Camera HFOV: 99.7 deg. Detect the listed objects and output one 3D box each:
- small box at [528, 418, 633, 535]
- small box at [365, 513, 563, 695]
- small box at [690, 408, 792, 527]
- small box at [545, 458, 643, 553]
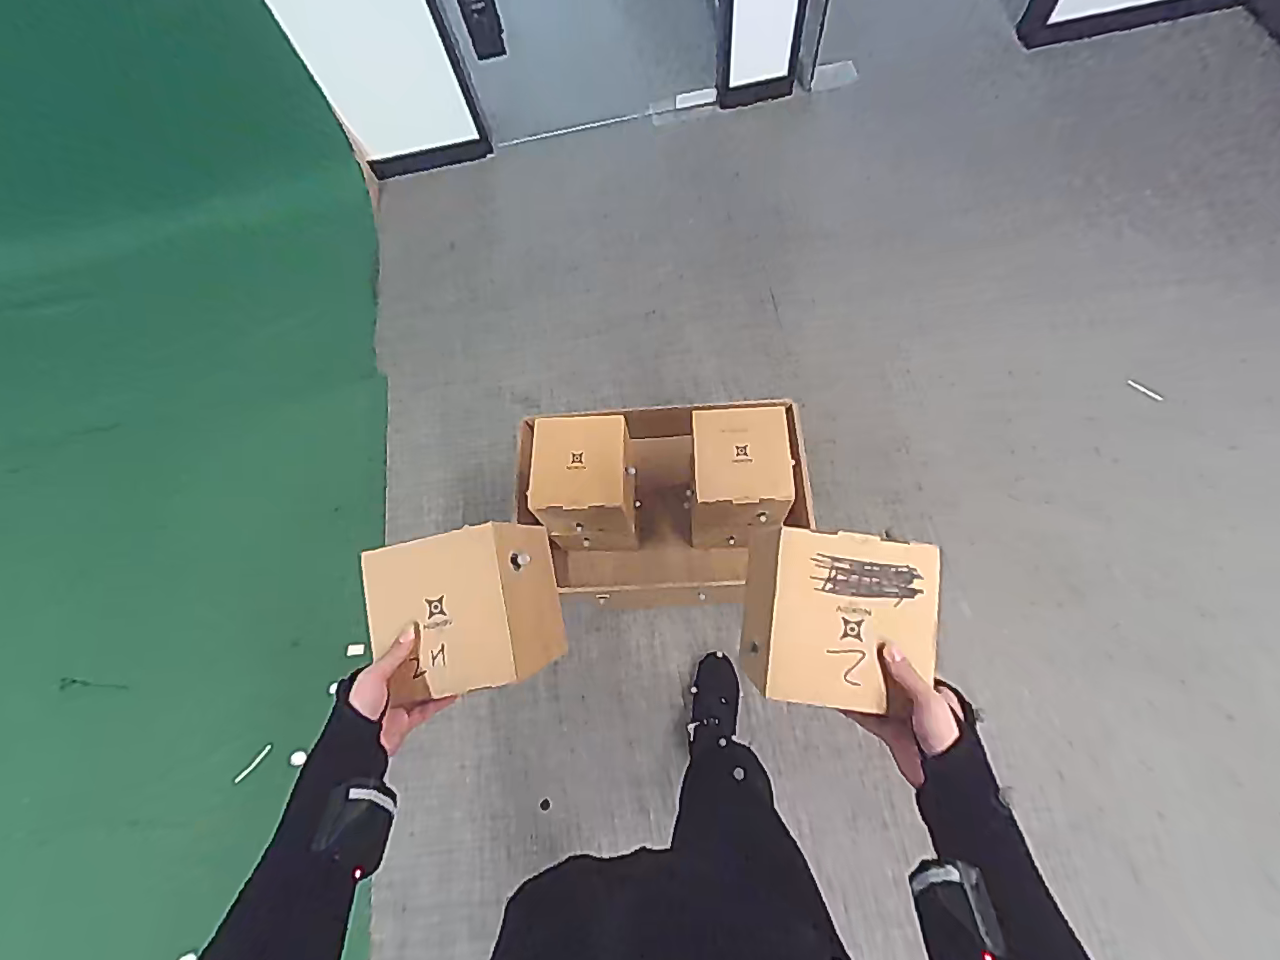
[{"bbox_3d":[-0.104,-0.001,1.029,0.168,0.176,0.179,-2,69,5],"label":"small box"},{"bbox_3d":[-0.208,0.148,0.674,0.168,0.176,0.179,-13,80,9],"label":"small box"},{"bbox_3d":[0.179,-0.014,1.000,0.168,0.176,0.179,-2,68,4],"label":"small box"},{"bbox_3d":[-0.093,0.060,1.179,0.179,0.176,0.168,-1,69,7],"label":"small box"}]
